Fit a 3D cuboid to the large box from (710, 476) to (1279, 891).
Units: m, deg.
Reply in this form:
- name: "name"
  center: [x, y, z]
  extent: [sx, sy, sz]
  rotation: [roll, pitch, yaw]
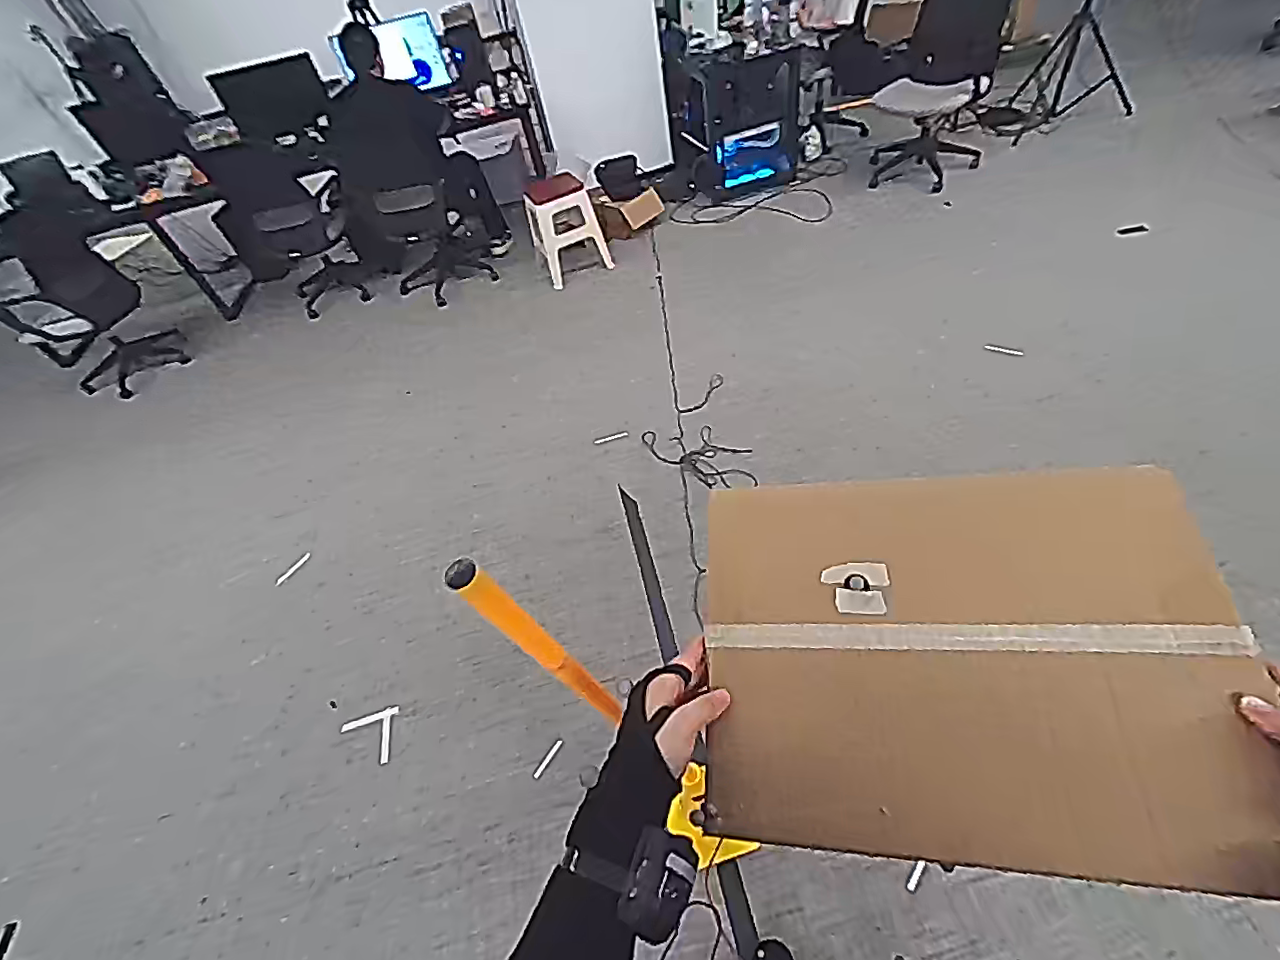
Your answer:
- name: "large box"
  center: [0.300, 0.217, 0.591]
  extent: [0.408, 0.320, 0.320]
  rotation: [-4, 58, 16]
